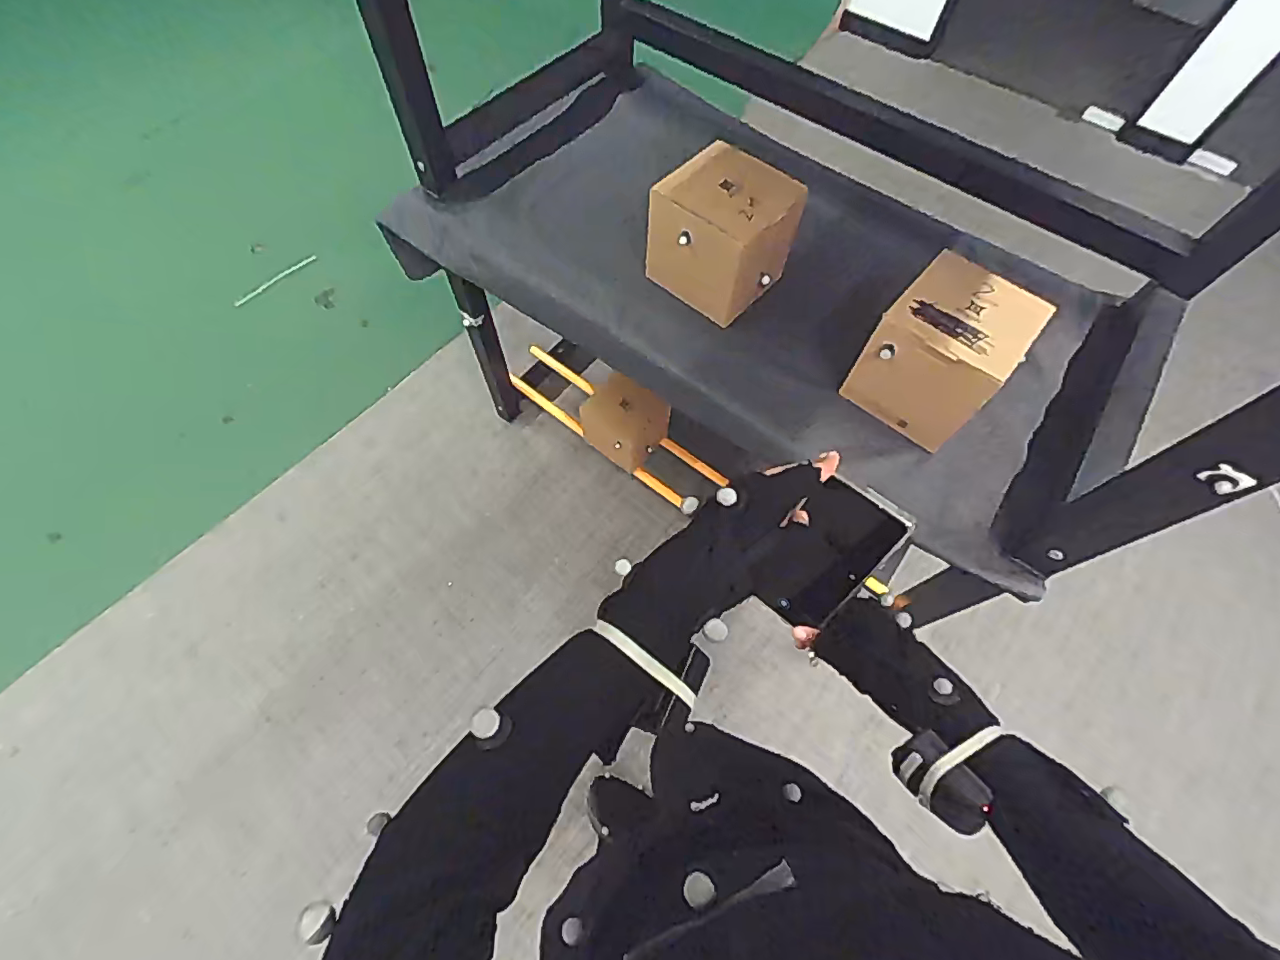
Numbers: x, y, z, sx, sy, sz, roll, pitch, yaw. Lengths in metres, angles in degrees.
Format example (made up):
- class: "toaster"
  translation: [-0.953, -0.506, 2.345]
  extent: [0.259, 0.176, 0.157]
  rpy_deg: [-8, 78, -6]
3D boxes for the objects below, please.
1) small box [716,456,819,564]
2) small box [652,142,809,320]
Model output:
- class: "small box"
  translation: [0.305, 0.080, 1.337]
  extent: [0.168, 0.176, 0.179]
  rpy_deg: [39, 69, 16]
- class: "small box"
  translation: [0.132, -0.393, 0.869]
  extent: [0.179, 0.176, 0.168]
  rpy_deg: [39, 69, 16]
